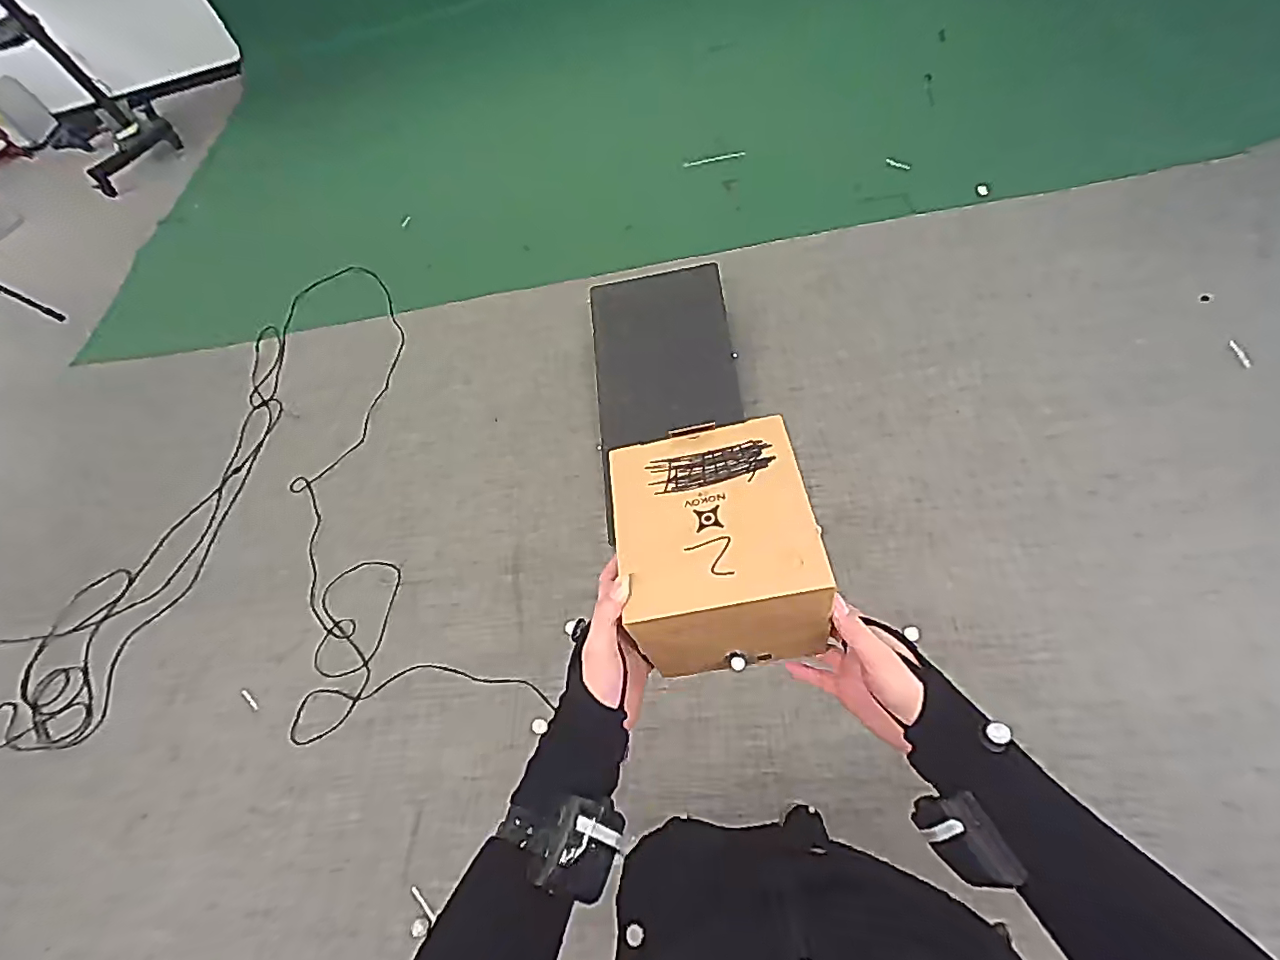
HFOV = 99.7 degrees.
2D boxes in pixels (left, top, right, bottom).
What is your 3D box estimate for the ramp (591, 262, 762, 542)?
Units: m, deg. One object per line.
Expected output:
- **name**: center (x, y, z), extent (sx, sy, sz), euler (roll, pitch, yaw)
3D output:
- **ramp**: center (0.100, -0.301, 1.866), extent (0.509, 0.206, 0.991), euler (-9, 61, 6)
